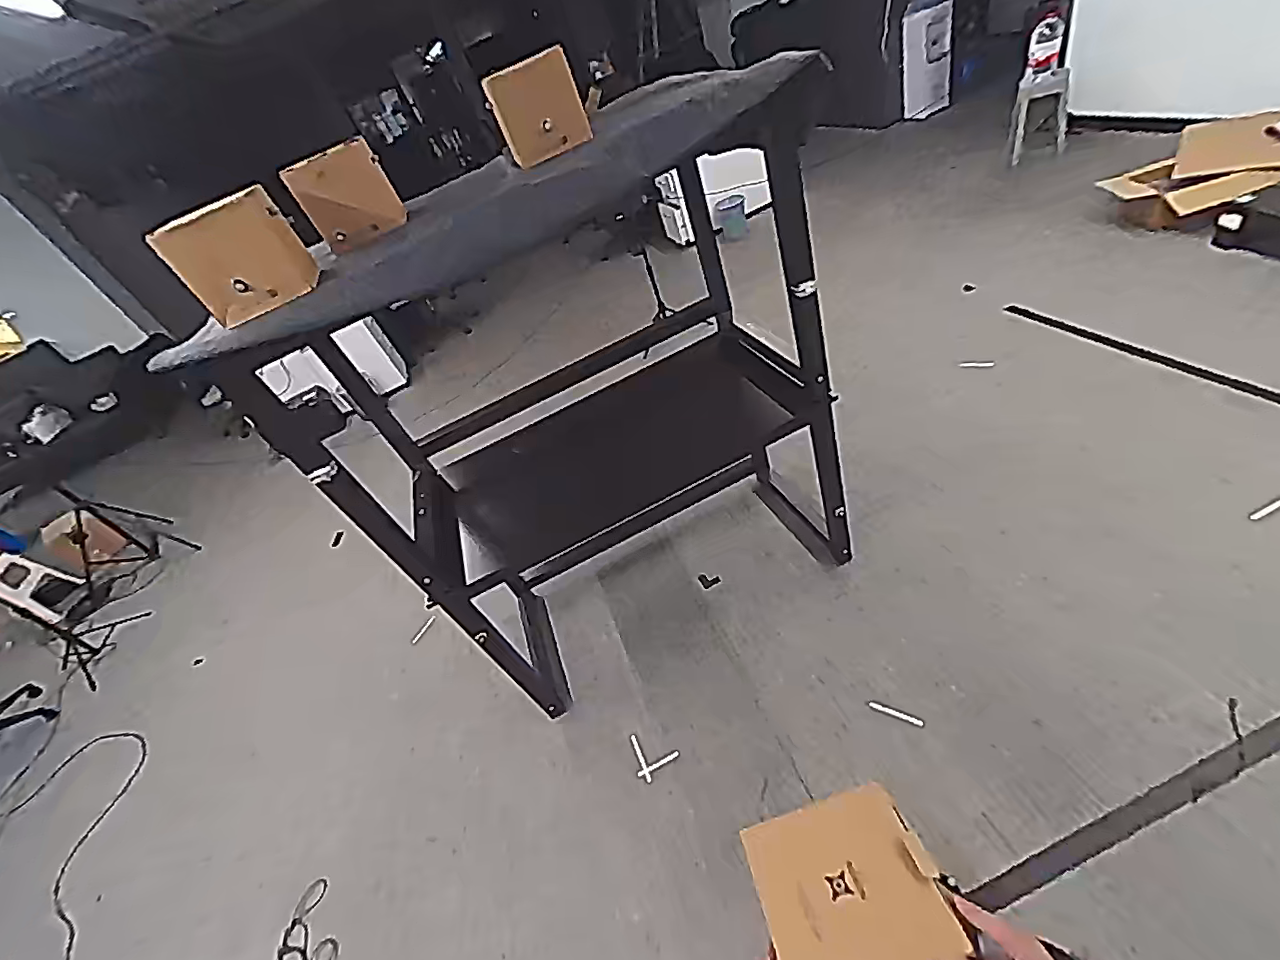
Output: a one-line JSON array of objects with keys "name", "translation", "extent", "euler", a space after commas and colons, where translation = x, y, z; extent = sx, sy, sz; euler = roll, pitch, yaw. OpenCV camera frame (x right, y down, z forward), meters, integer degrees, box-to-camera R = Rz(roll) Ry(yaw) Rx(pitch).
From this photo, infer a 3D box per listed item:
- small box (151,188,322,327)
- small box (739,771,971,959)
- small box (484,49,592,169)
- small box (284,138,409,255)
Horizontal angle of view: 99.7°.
[{"name": "small box", "translation": [-0.705, -0.399, 0.973], "extent": [0.168, 0.176, 0.179], "euler": [-29, 40, -6]}, {"name": "small box", "translation": [0.232, 0.468, 0.597], "extent": [0.179, 0.176, 0.168], "euler": [-22, 28, 3]}, {"name": "small box", "translation": [-0.223, -0.804, 1.181], "extent": [0.168, 0.176, 0.179], "euler": [-26, 39, -1]}, {"name": "small box", "translation": [-0.623, -0.611, 1.171], "extent": [0.168, 0.176, 0.179], "euler": [-27, 38, -3]}]
